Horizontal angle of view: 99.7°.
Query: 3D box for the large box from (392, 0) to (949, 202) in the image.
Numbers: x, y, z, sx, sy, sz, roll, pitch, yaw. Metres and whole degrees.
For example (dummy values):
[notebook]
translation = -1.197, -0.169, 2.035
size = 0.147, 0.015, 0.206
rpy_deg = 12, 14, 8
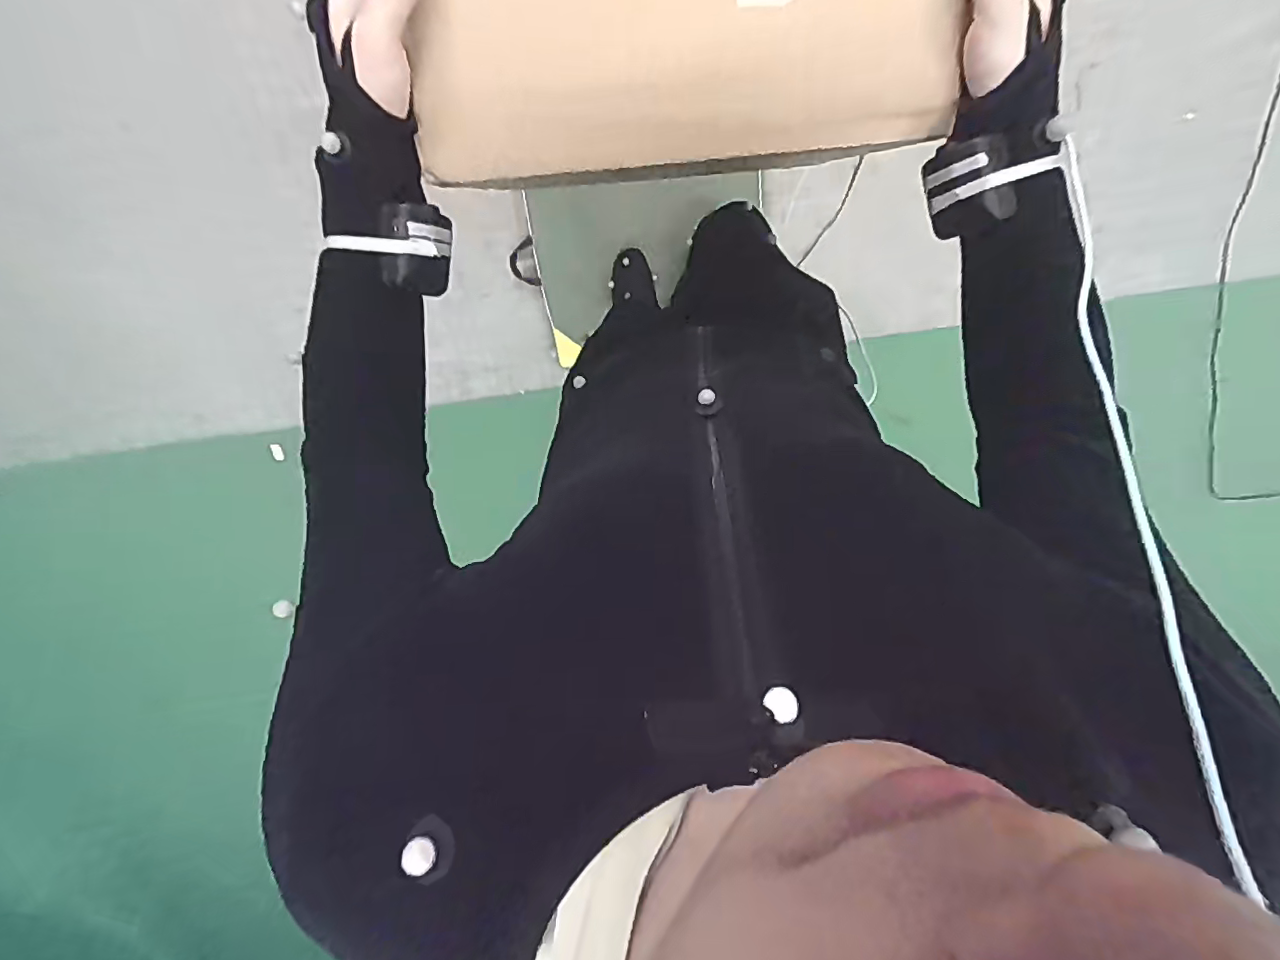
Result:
[large box]
translation = 0.015, -0.450, 0.495
size = 0.408, 0.320, 0.320
rpy_deg = -5, 118, 1
